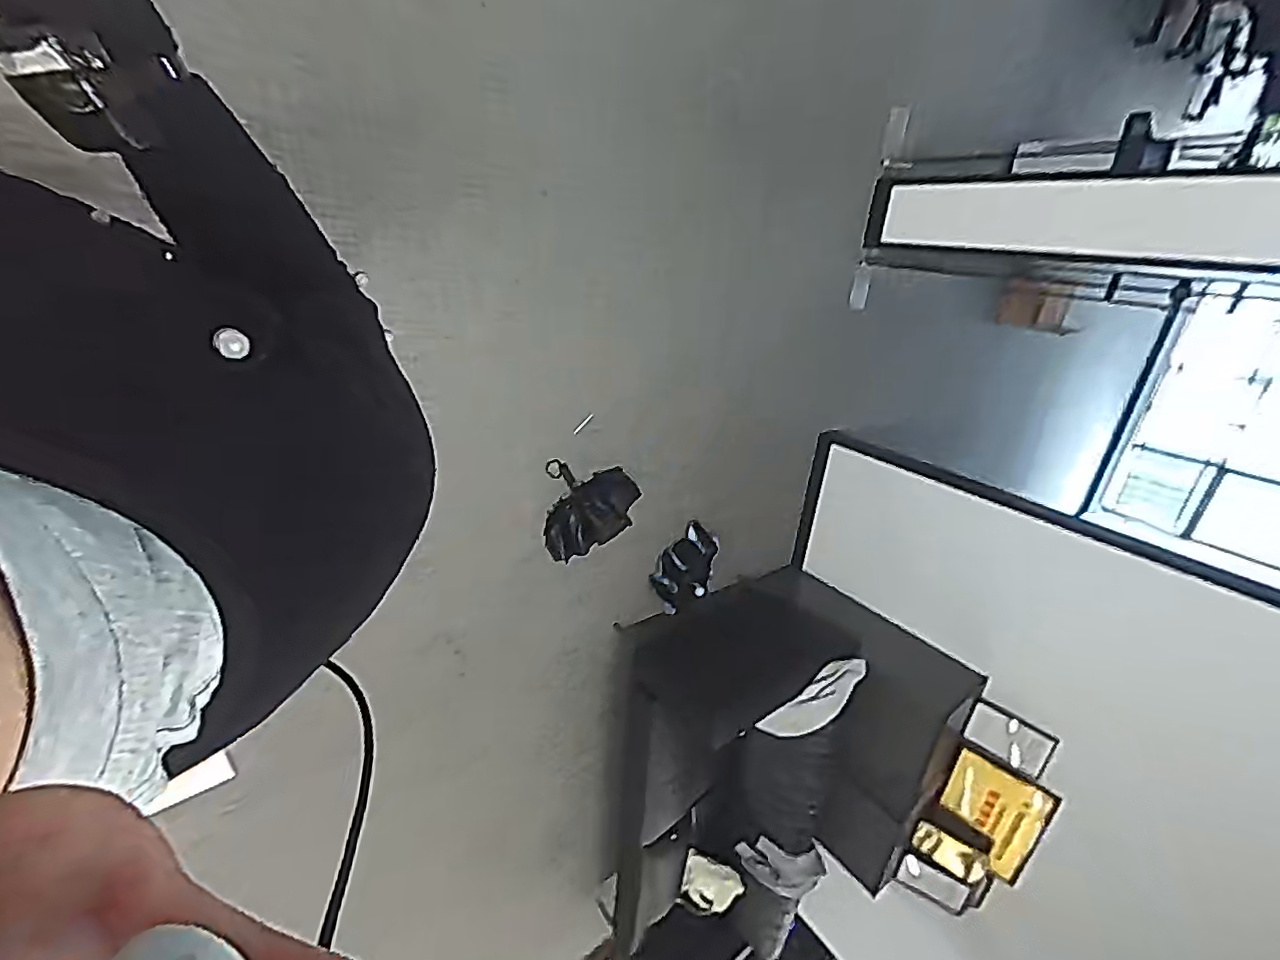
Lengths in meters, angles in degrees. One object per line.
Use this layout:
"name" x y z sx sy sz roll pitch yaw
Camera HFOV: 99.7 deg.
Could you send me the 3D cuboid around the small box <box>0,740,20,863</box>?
"small box" -0.920 0.409 0.659 0.168 0.176 0.179 -15 122 -34
